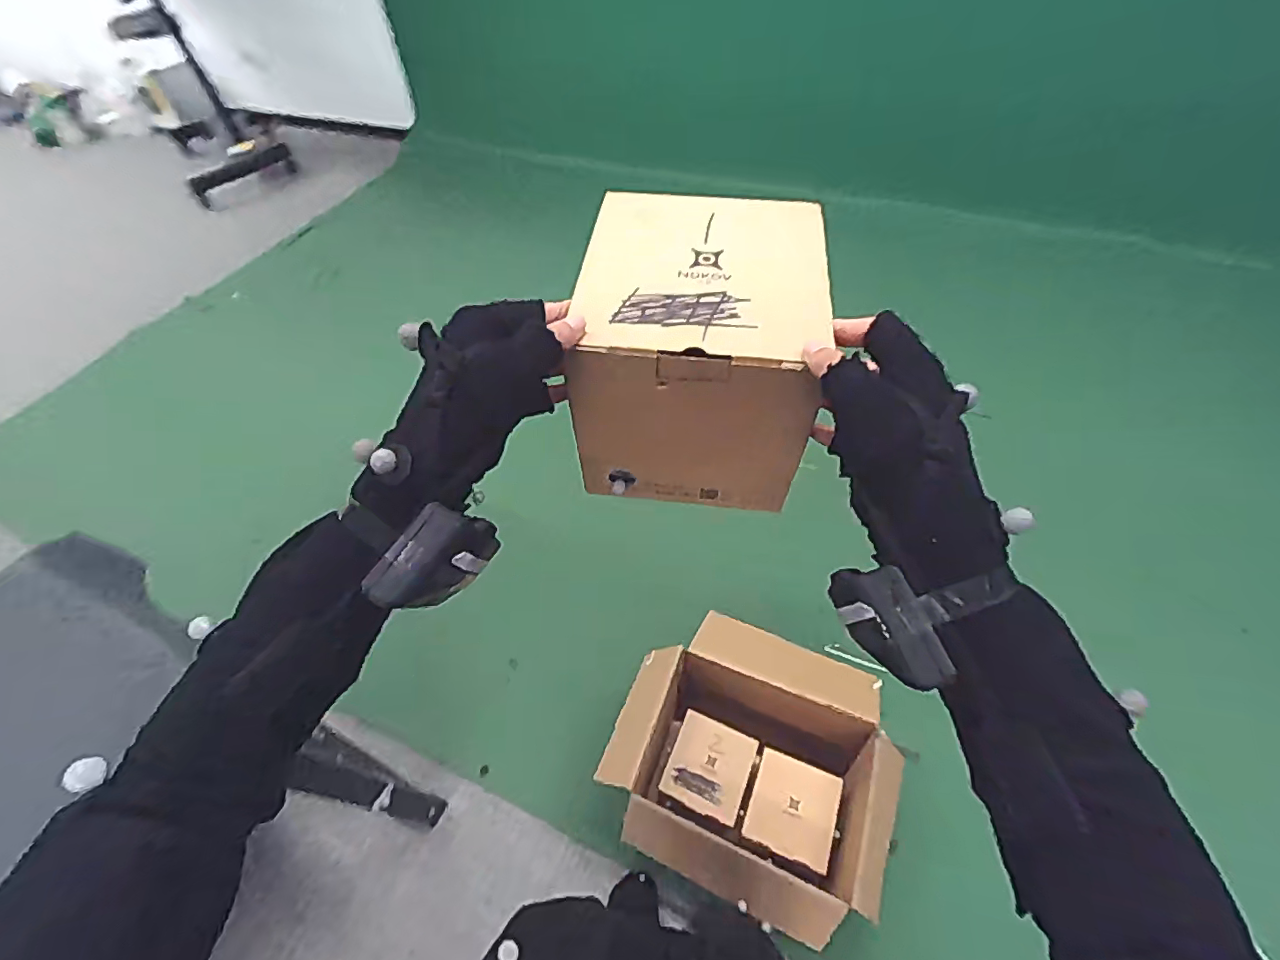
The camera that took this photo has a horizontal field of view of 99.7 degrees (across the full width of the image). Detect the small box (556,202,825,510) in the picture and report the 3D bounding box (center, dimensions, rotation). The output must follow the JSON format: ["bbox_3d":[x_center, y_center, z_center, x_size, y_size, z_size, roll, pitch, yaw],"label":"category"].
[{"bbox_3d":[0.042,-0.093,0.433,0.168,0.176,0.179,6,55,5],"label":"small box"}]
